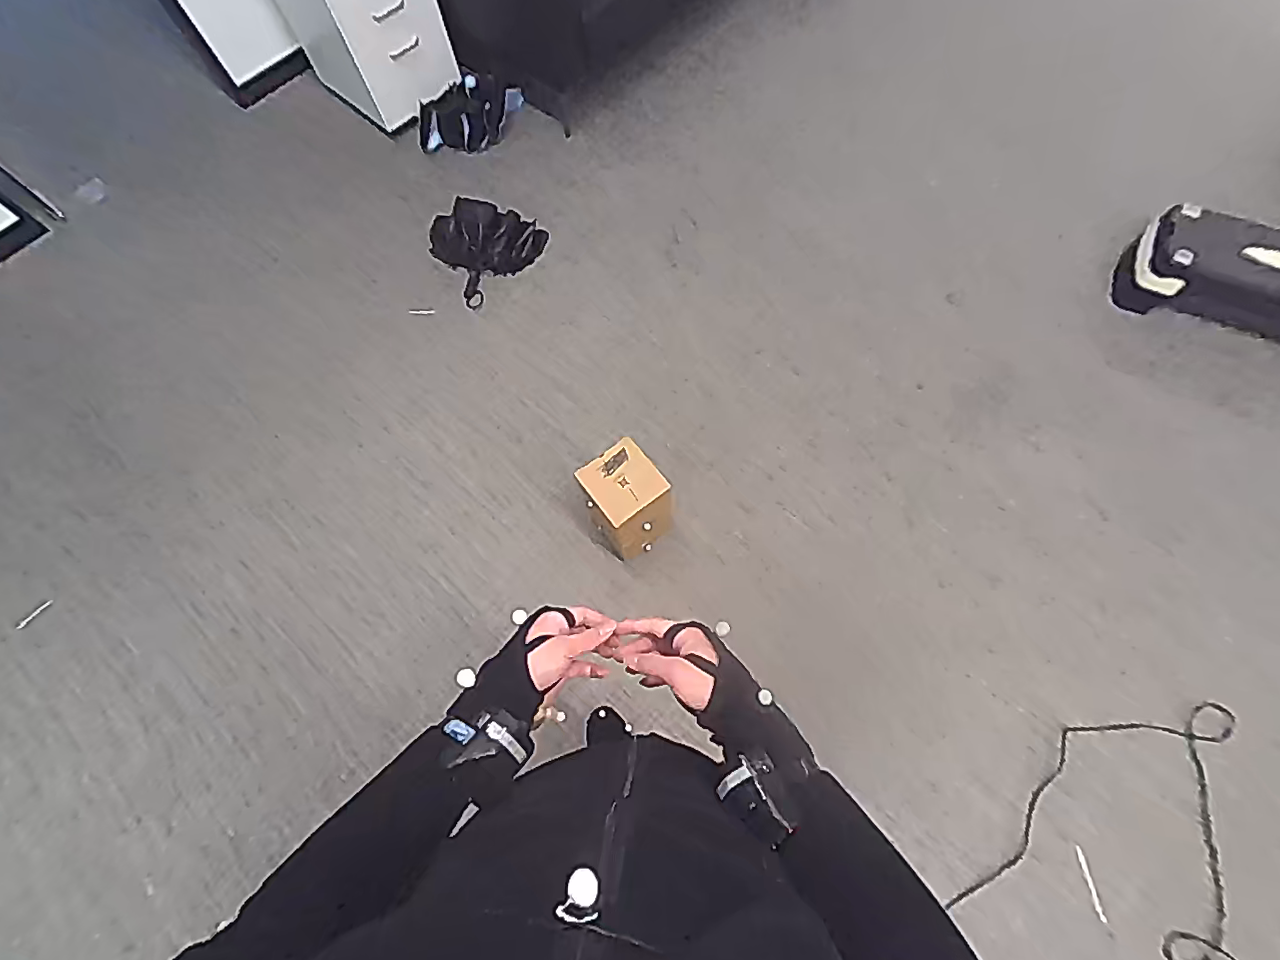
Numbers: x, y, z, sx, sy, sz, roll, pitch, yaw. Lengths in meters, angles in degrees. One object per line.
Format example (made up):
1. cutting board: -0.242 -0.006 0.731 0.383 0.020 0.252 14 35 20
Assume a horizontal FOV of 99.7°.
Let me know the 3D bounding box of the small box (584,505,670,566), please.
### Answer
1. small box: -0.033 0.114 1.507 0.168 0.176 0.179 -37 71 -11

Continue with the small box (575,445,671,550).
1. small box: -0.039 0.050 1.355 0.168 0.176 0.179 -36 71 -11
